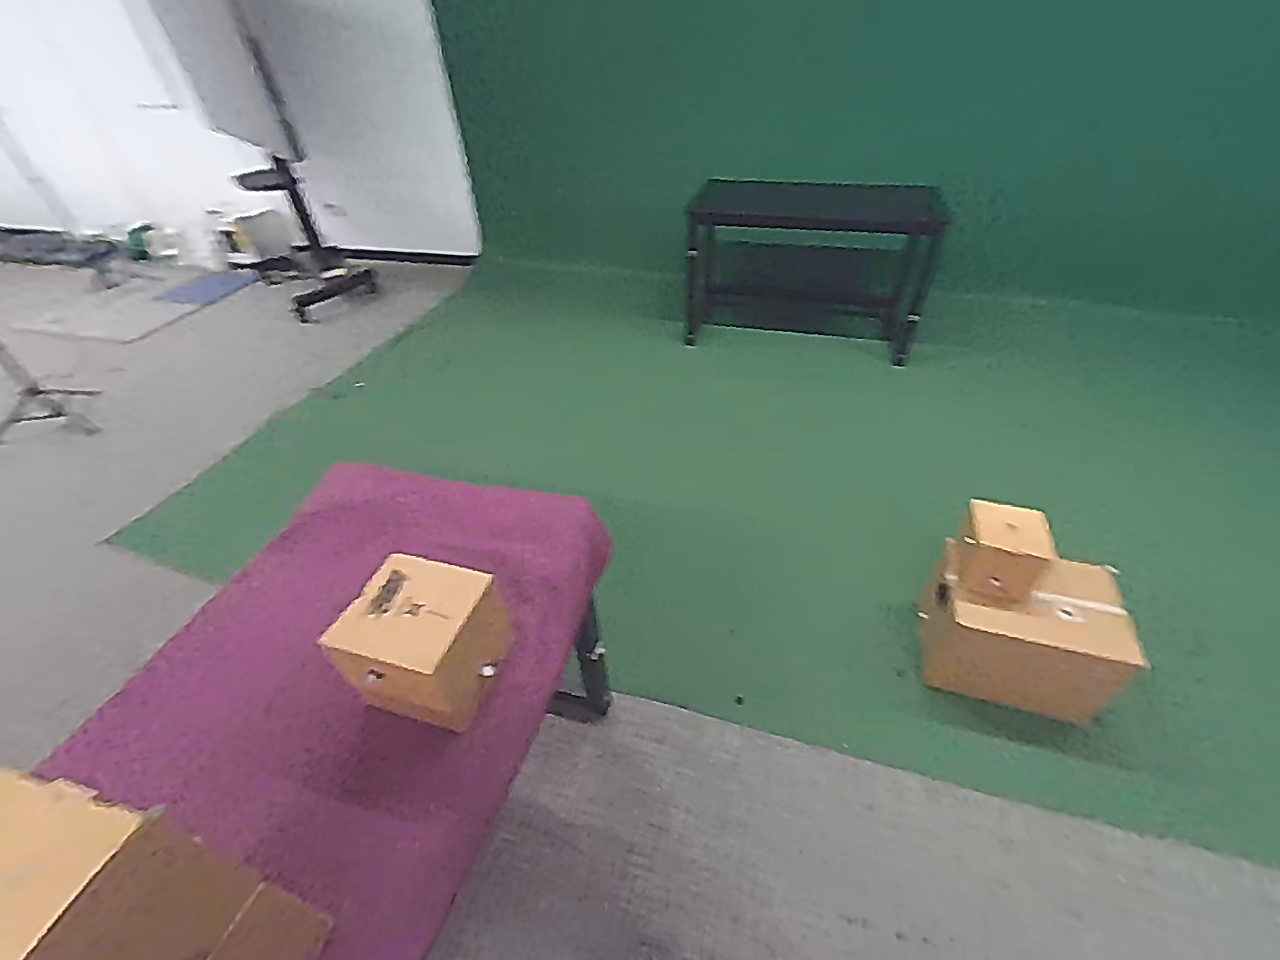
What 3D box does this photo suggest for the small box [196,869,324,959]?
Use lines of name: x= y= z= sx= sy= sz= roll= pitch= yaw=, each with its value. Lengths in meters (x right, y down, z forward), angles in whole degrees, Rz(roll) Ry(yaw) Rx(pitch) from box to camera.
small box: x=-0.461 y=0.480 z=0.523 sx=0.179 sy=0.176 sz=0.168 roll=7 pitch=43 yaw=14

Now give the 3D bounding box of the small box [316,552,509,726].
small box: x=-0.320 y=0.235 z=0.799 sx=0.179 sy=0.176 sz=0.168 roll=9 pitch=43 yaw=14

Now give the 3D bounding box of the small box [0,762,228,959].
small box: x=-0.470 y=0.357 z=0.415 sx=0.168 sy=0.176 sz=0.179 roll=6 pitch=41 yaw=14

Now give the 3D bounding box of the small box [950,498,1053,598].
small box: x=0.934 y=0.177 z=1.418 sx=0.168 sy=0.176 sz=0.179 roll=11 pitch=43 yaw=15

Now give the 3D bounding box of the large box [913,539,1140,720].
large box: x=1.030 y=0.411 z=1.513 sx=0.408 sy=0.320 sz=0.320 roll=11 pitch=43 yaw=15
